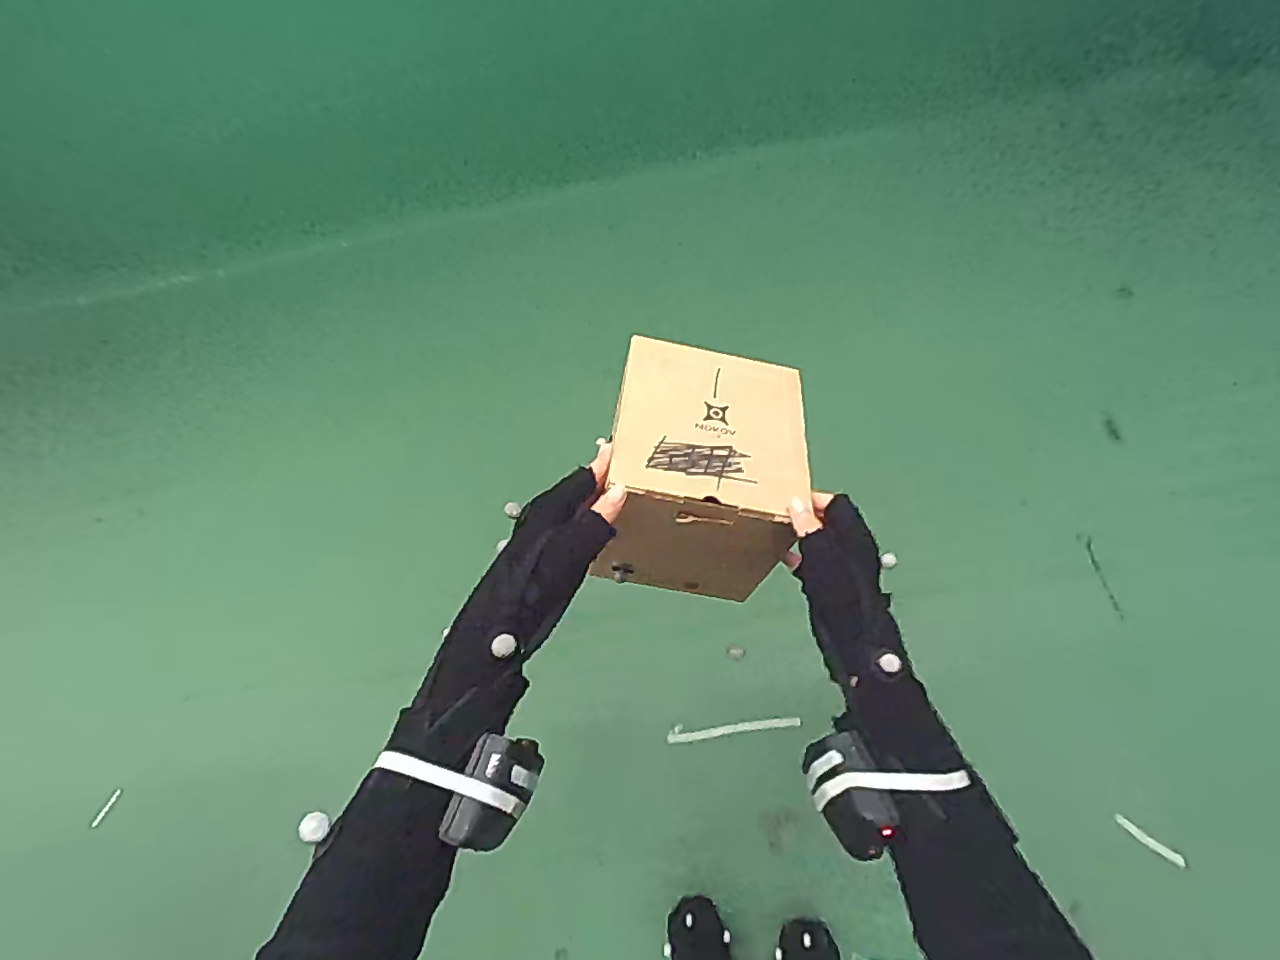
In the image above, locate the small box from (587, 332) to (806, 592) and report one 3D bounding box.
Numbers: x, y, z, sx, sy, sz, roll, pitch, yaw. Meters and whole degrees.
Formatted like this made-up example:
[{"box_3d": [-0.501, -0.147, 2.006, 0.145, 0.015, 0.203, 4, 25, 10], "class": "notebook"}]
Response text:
[{"box_3d": [0.045, -0.009, 0.525, 0.168, 0.176, 0.179, 11, 53, -5], "class": "small box"}]
